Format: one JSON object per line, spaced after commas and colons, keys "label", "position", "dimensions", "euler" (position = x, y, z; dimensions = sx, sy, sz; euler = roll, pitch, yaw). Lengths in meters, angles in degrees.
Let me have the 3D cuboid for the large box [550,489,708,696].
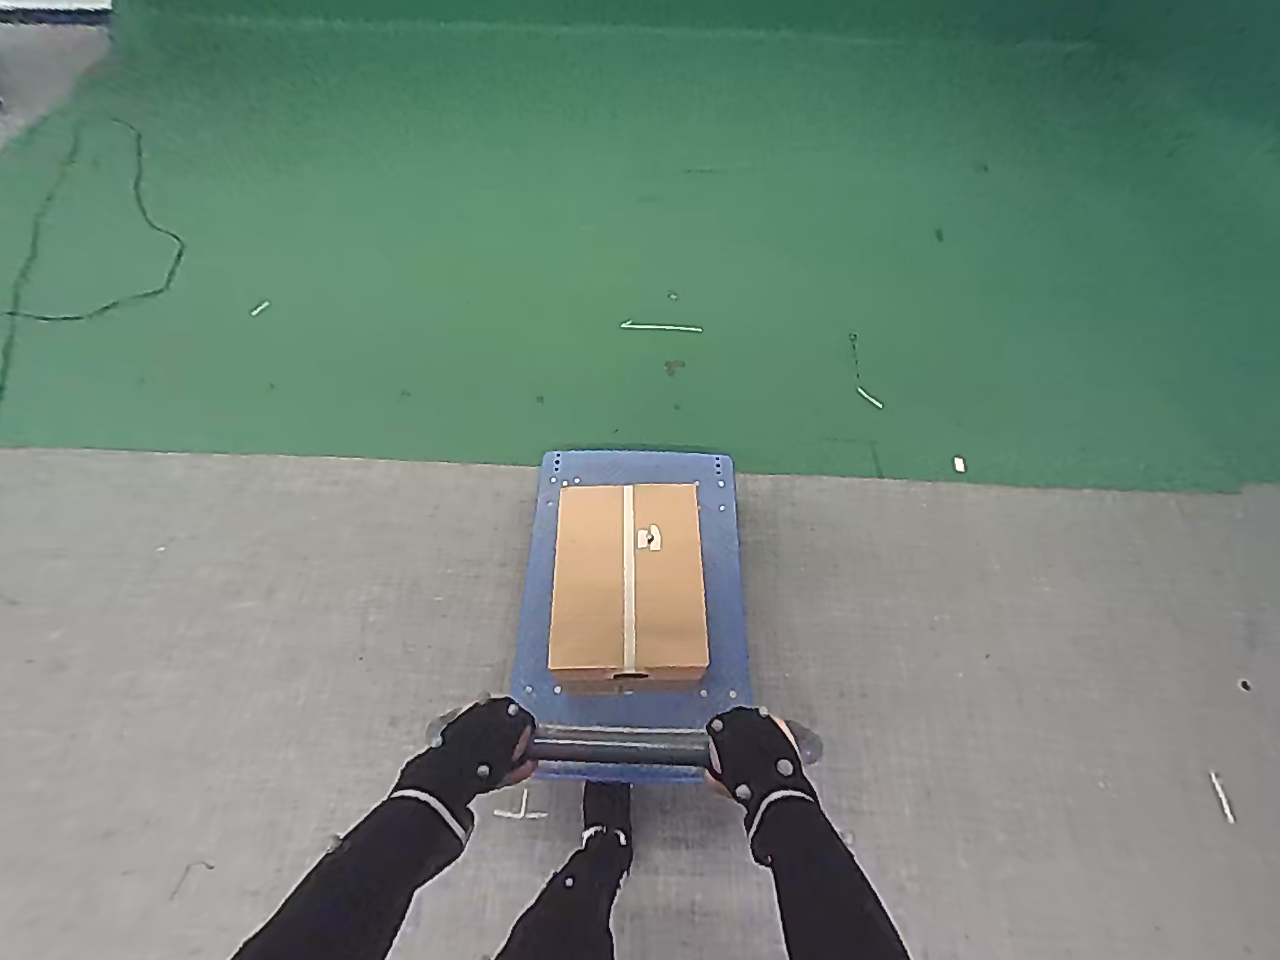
{"label": "large box", "position": [-0.025, 0.271, 1.274], "dimensions": [0.320, 0.320, 0.408], "euler": [-1, 60, -1]}
